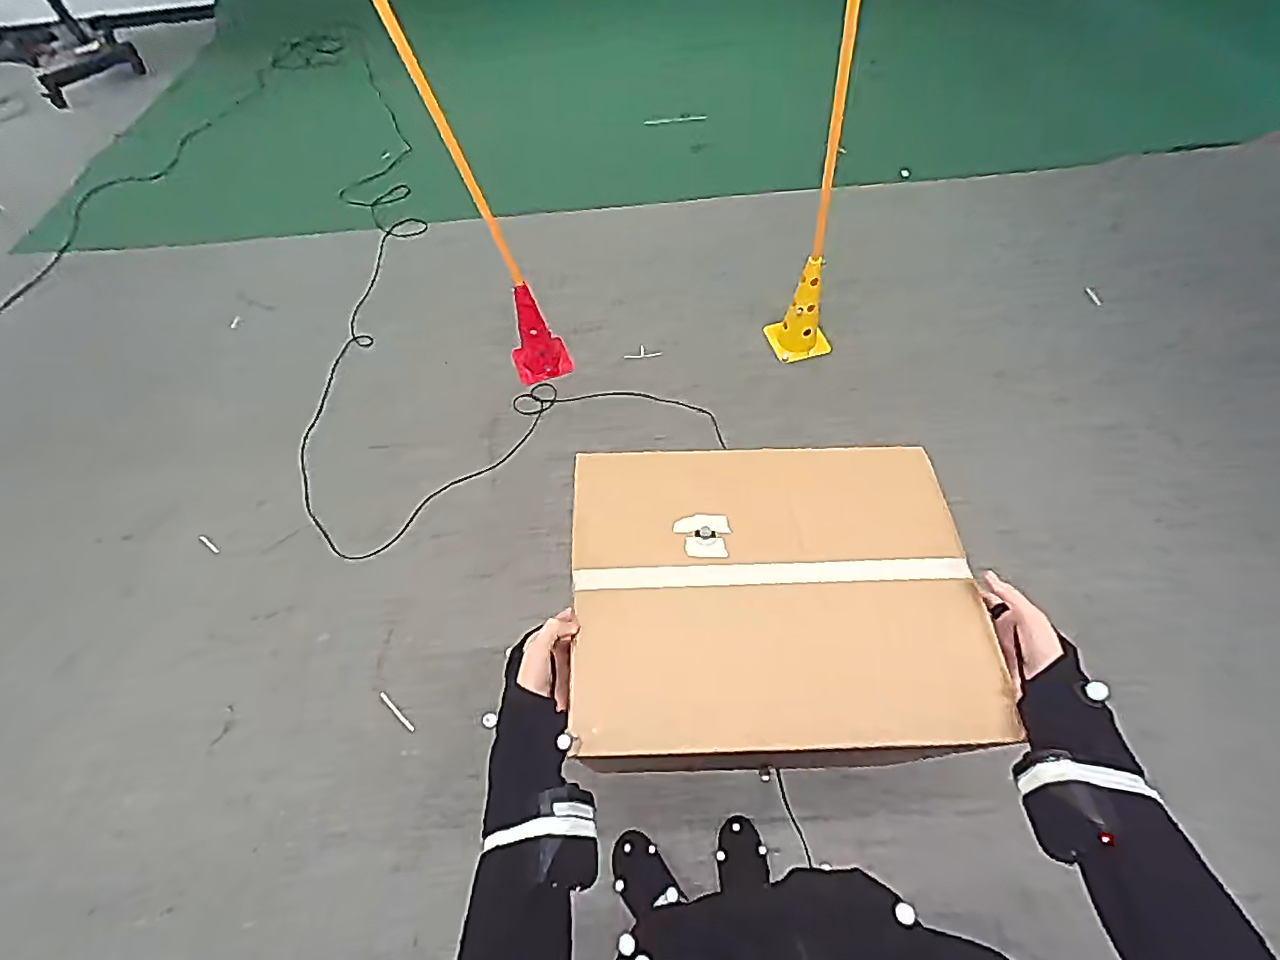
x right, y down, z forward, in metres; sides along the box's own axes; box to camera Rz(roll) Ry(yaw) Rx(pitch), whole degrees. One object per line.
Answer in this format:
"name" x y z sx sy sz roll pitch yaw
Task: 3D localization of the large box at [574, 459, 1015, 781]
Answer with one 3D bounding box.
"large box" 0.138 0.192 0.683 0.408 0.320 0.320 -2 58 0
